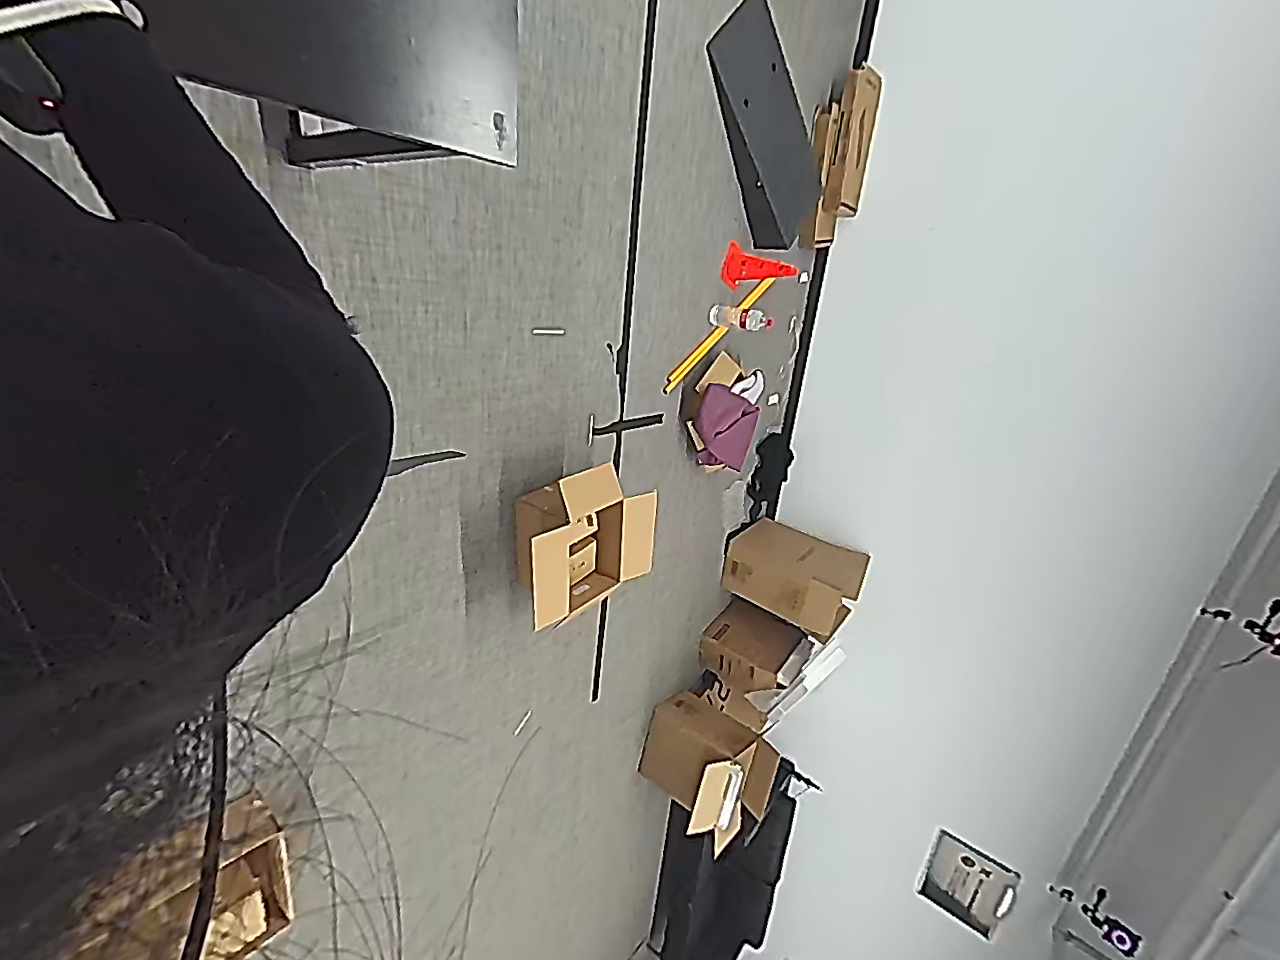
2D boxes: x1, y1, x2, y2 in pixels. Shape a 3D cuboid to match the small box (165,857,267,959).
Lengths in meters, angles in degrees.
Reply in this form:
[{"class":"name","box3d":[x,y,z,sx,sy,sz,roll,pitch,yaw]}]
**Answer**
[{"class":"small box","box3d":[-1.162,1.197,1.485,0.179,0.176,0.168,-15,117,-49]}]
